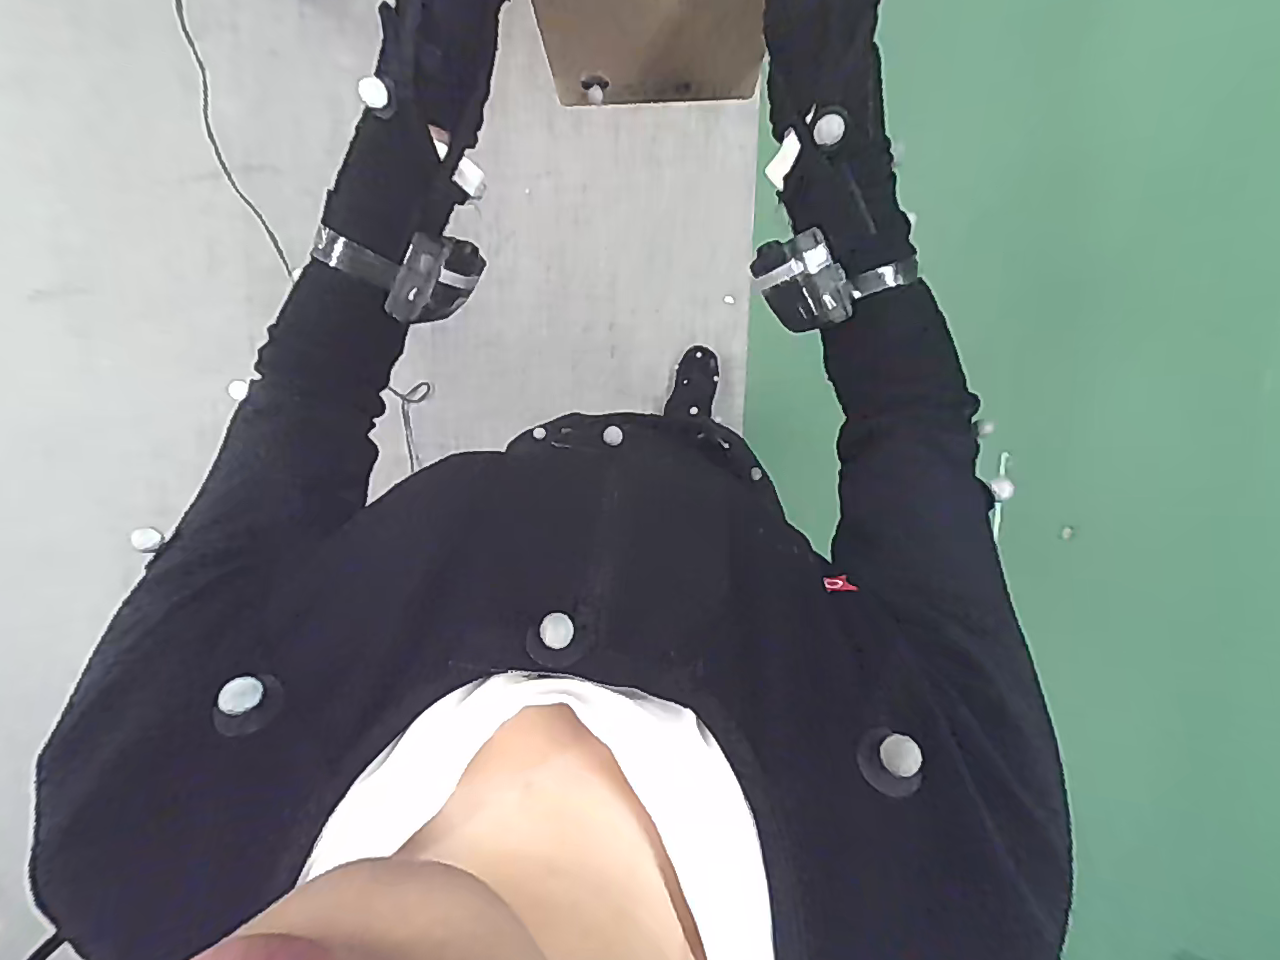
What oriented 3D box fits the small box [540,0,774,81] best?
[{"bbox_3d":[0.012,-0.407,0.367,0.168,0.176,0.179,-1,95,2],"label":"small box"}]
